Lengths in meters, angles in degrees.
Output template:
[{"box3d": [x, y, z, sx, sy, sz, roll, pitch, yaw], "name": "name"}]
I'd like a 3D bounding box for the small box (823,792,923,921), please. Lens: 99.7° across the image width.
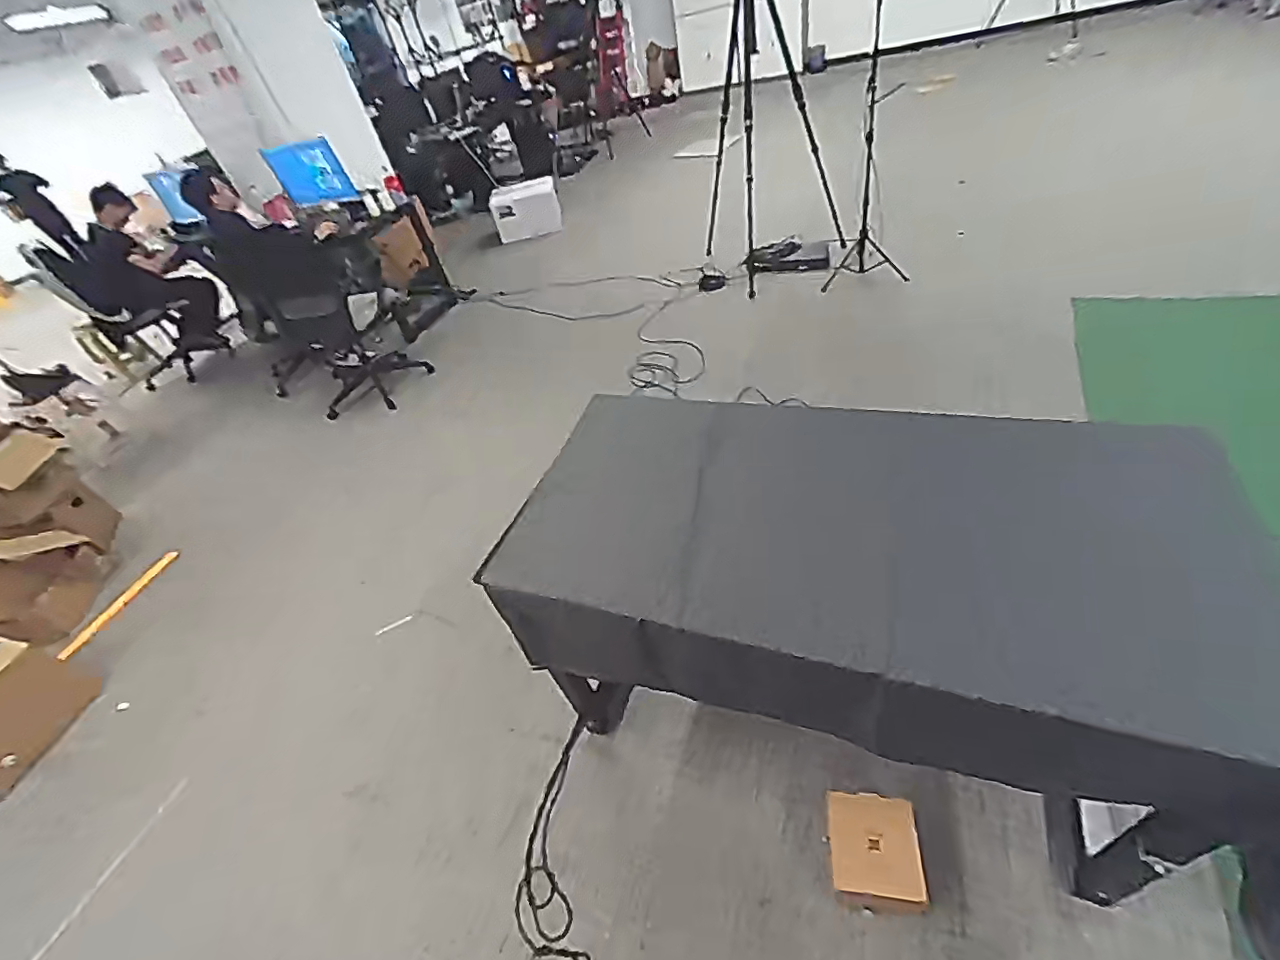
[{"box3d": [0.473, 0.782, 1.126, 0.168, 0.176, 0.179, -2, 43, 15], "name": "small box"}]
